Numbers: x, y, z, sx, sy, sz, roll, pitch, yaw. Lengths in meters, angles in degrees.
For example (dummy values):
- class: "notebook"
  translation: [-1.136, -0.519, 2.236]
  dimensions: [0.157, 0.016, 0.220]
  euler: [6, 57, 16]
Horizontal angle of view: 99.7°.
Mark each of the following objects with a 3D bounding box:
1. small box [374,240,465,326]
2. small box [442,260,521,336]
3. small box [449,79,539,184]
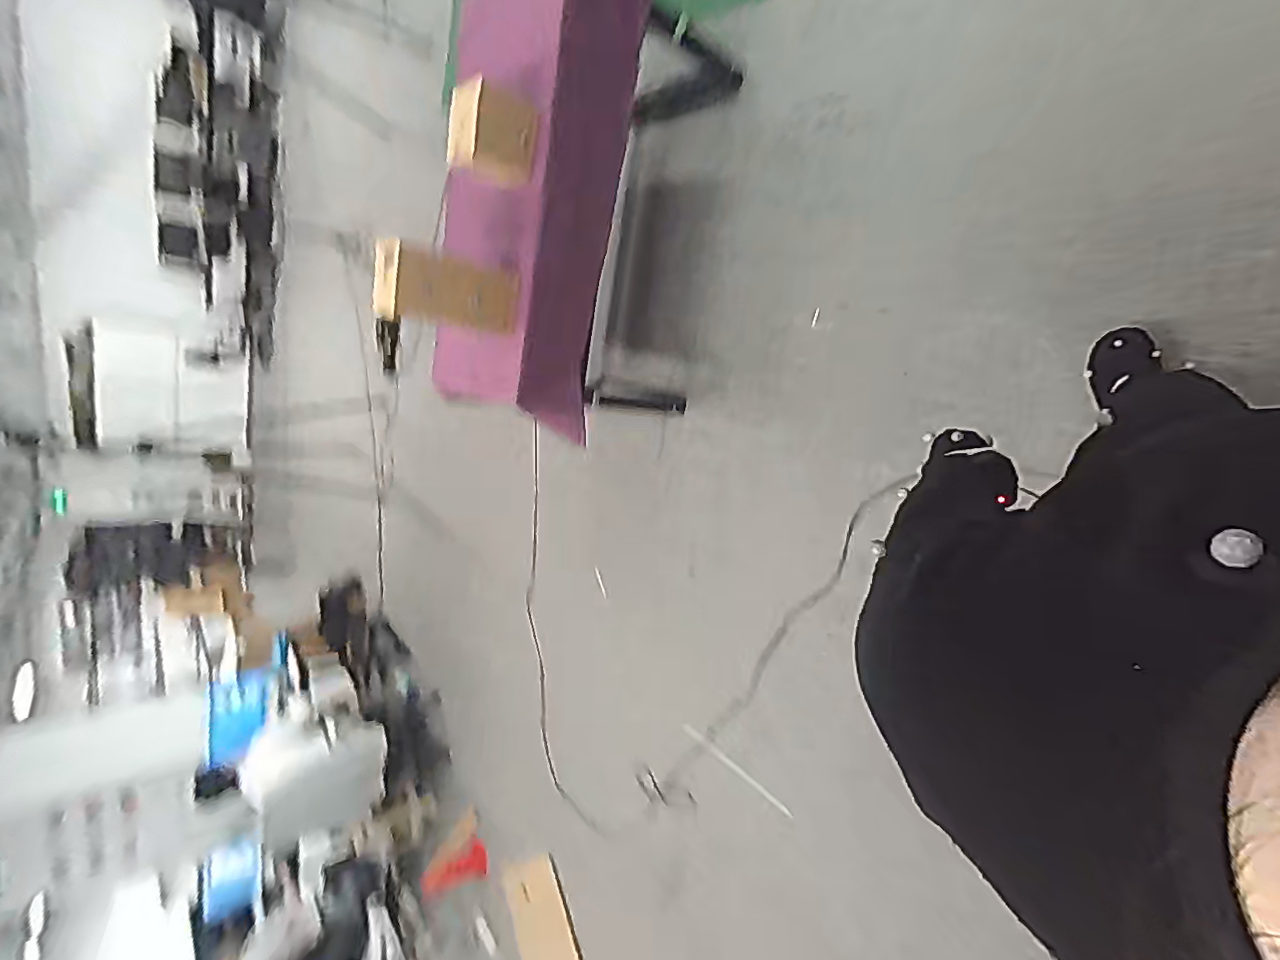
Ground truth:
- class: "small box"
  translation: [-0.575, -0.515, 1.416]
  dimensions: [0.168, 0.176, 0.179]
  euler: [25, 109, 43]
- class: "small box"
  translation: [-0.456, -0.513, 1.529]
  dimensions: [0.168, 0.176, 0.179]
  euler: [25, 109, 43]
- class: "small box"
  translation: [-0.388, -0.920, 1.445]
  dimensions: [0.168, 0.176, 0.179]
  euler: [24, 108, 44]
